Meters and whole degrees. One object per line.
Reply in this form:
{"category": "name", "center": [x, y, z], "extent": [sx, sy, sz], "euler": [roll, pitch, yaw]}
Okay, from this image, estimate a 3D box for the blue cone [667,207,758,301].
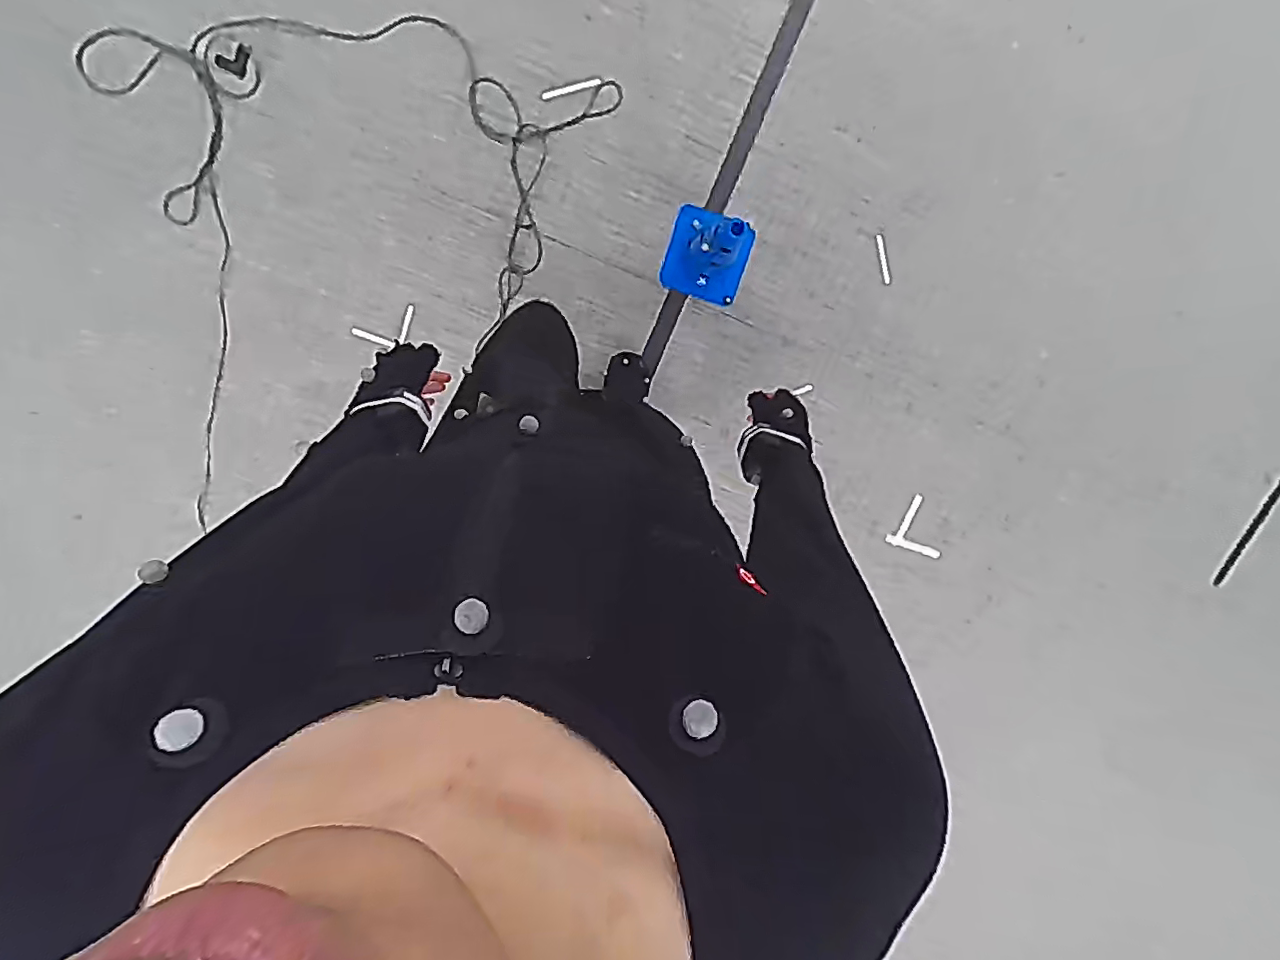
{"category": "blue cone", "center": [0.183, -0.520, 1.190], "extent": [0.192, 0.380, 0.193], "euler": [18, 103, -8]}
